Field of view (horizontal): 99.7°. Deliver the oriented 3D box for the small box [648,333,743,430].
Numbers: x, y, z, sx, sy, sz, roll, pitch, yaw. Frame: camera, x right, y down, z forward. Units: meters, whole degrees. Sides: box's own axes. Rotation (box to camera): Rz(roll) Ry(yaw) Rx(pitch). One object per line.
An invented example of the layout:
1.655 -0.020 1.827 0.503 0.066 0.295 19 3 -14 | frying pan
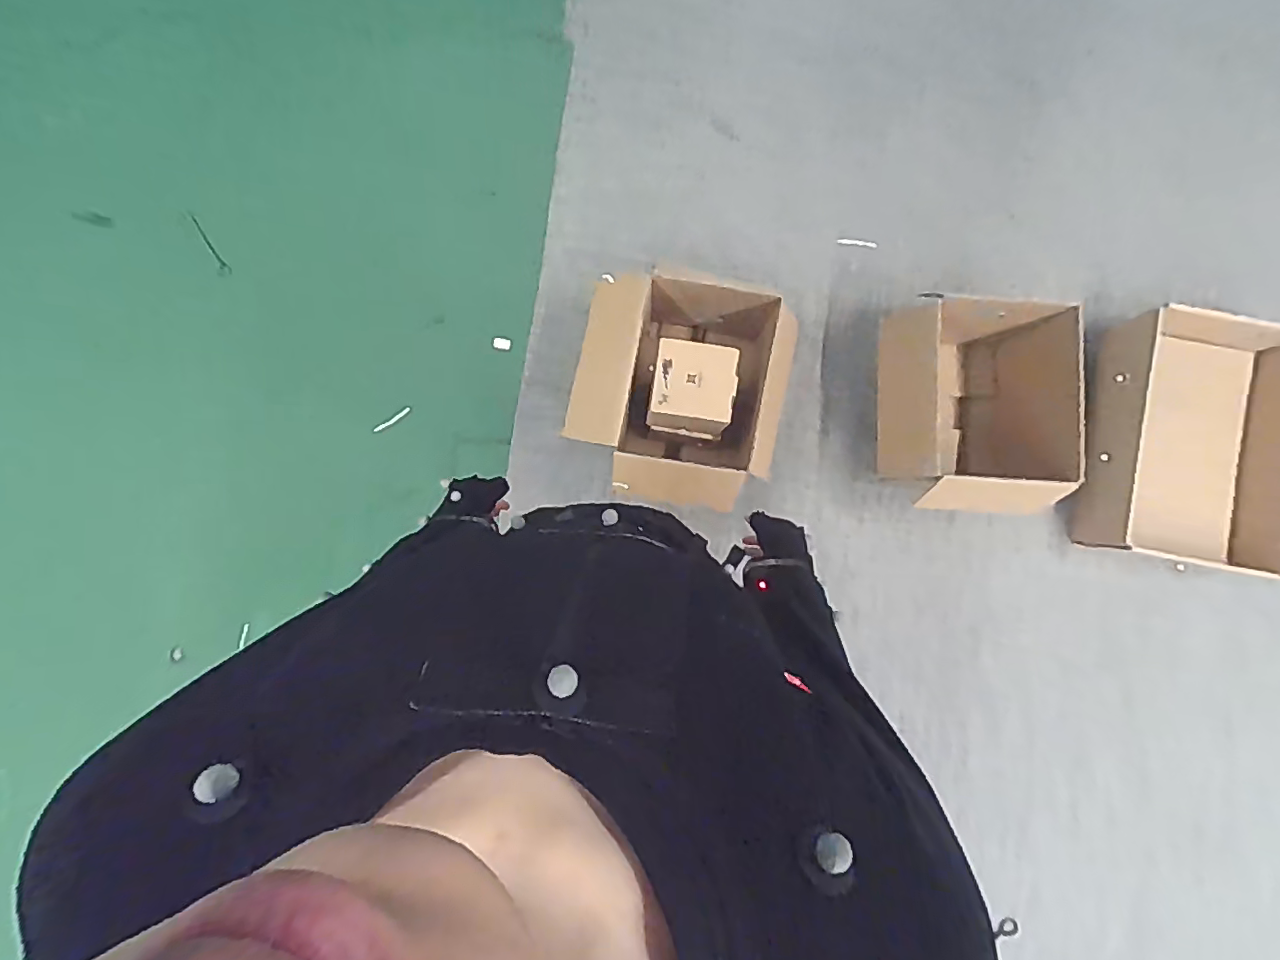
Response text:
0.120 -0.215 1.231 0.179 0.176 0.168 9 85 -2 | small box
